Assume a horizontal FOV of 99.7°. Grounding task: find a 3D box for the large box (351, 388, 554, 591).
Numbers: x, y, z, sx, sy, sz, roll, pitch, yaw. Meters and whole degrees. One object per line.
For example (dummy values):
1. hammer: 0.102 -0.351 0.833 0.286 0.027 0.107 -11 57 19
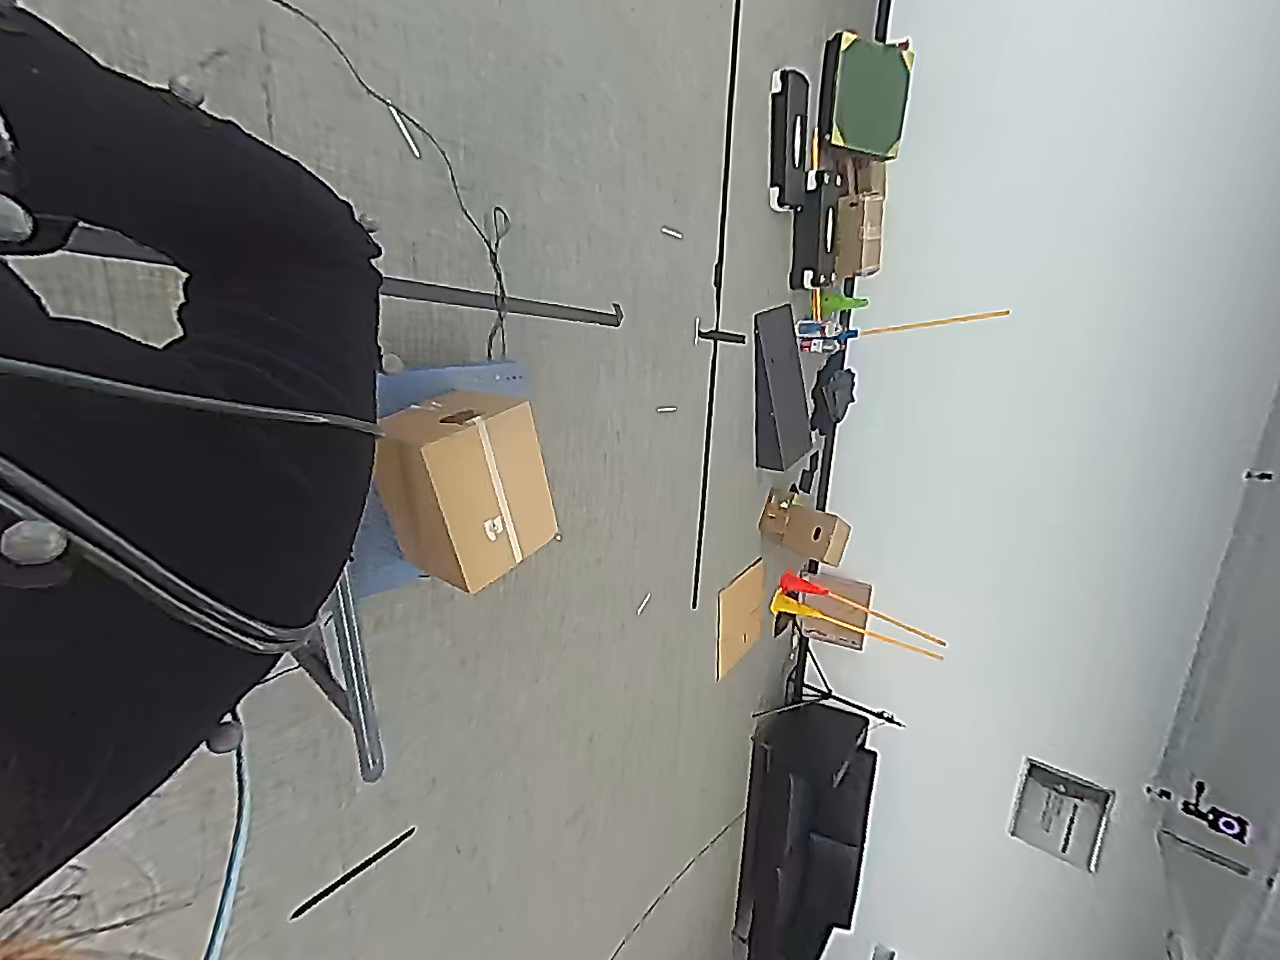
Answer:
1. large box: -0.474 0.006 1.415 0.320 0.320 0.408 -35 127 -42
